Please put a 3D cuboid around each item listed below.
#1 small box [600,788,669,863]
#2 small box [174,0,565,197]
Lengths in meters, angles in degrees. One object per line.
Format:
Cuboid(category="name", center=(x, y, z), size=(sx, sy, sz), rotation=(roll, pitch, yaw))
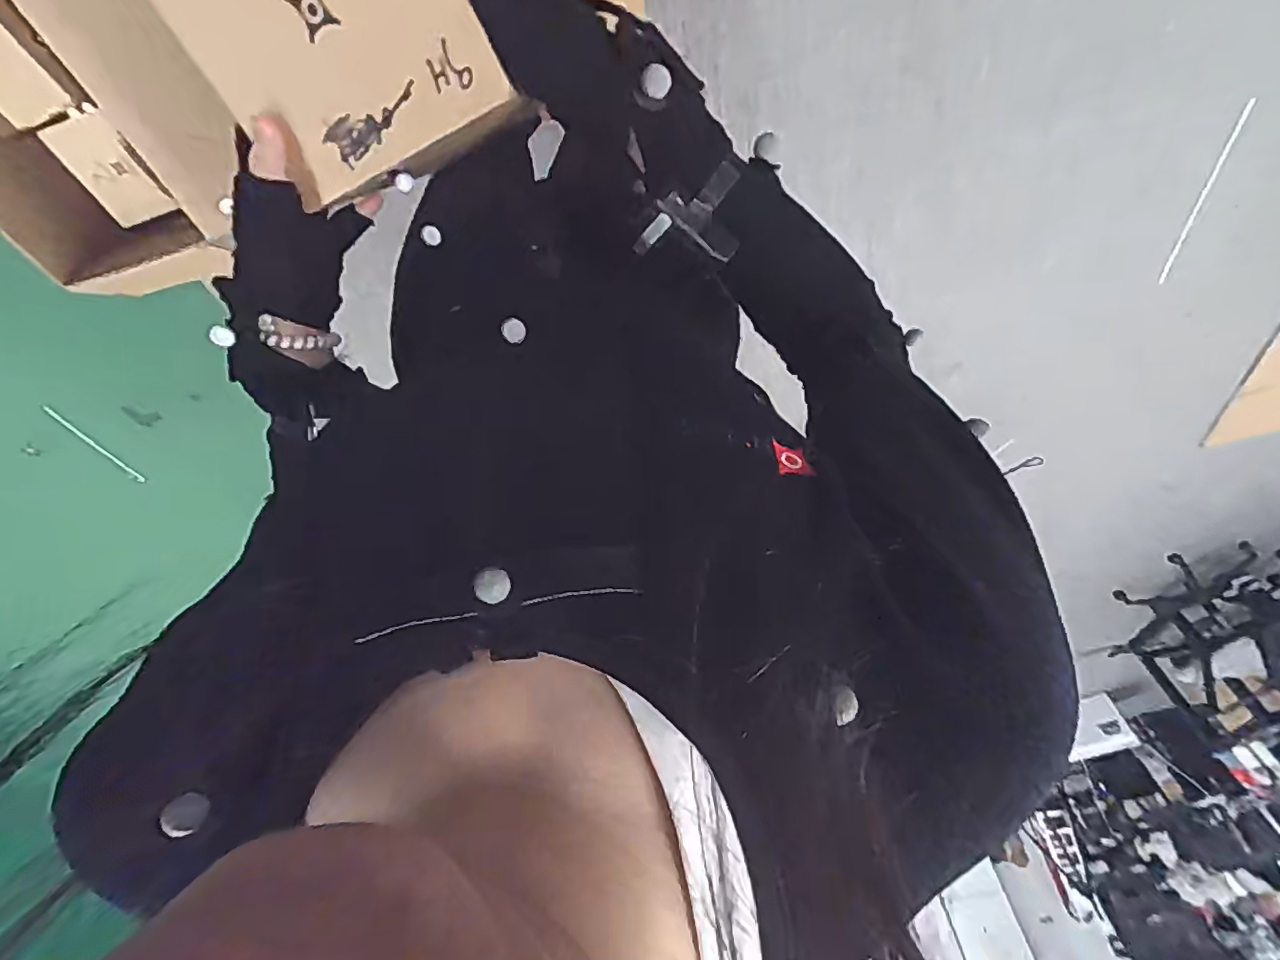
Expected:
Cuboid(category="small box", center=(-0.020, 1.102, 1.726), size=(0.179, 0.176, 0.168), rotation=(-16, 138, 7))
Cuboid(category="small box", center=(-0.169, -0.316, 0.355), size=(0.168, 0.176, 0.179), rotation=(-17, 121, 16))
